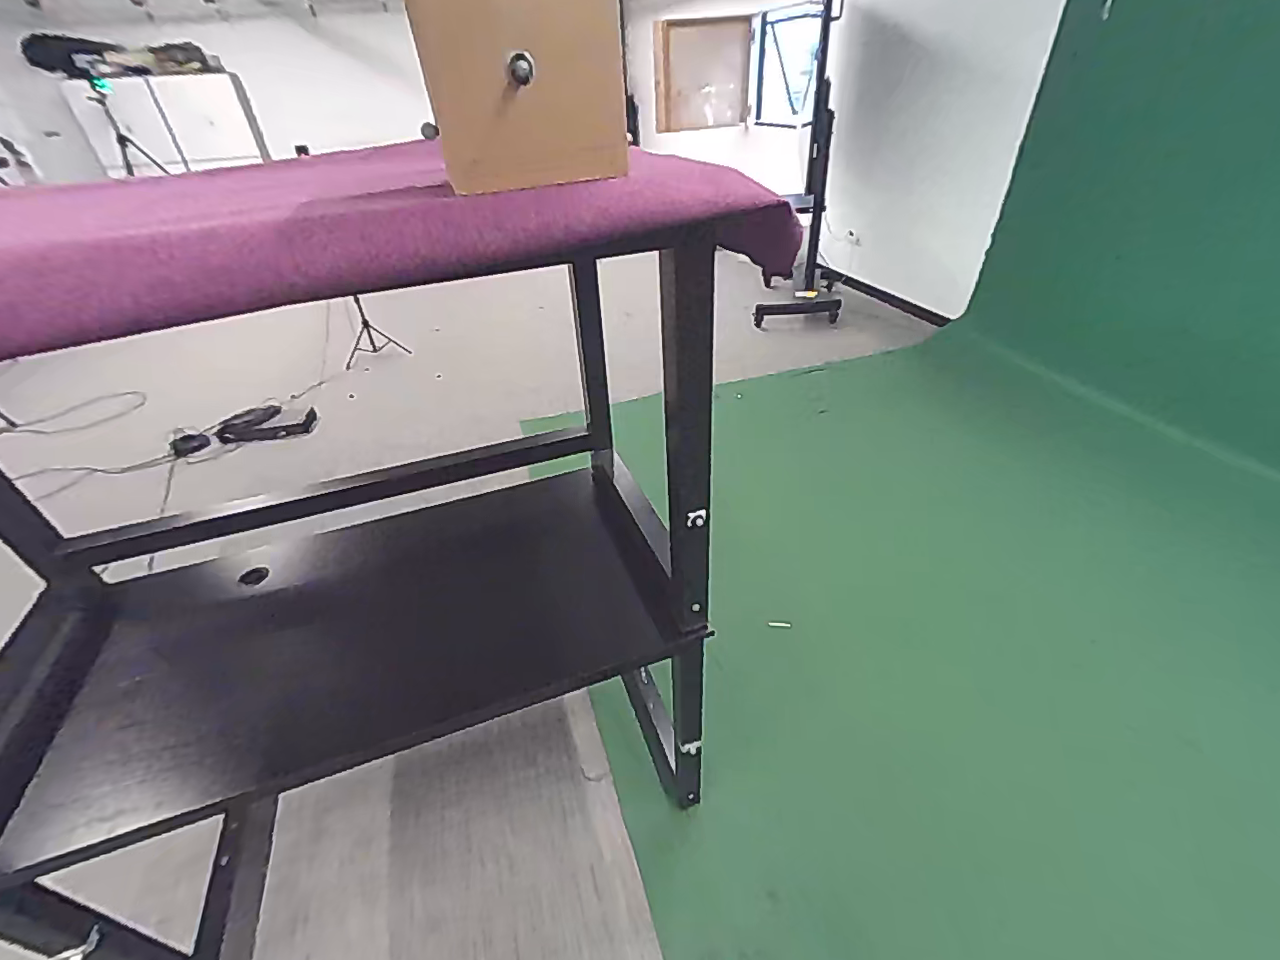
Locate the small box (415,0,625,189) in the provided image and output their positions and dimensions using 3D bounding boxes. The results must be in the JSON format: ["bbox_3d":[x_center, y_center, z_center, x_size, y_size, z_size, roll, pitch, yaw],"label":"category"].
[{"bbox_3d":[-0.117,-0.406,0.542,0.179,0.176,0.168,-15,38,-12],"label":"small box"}]
